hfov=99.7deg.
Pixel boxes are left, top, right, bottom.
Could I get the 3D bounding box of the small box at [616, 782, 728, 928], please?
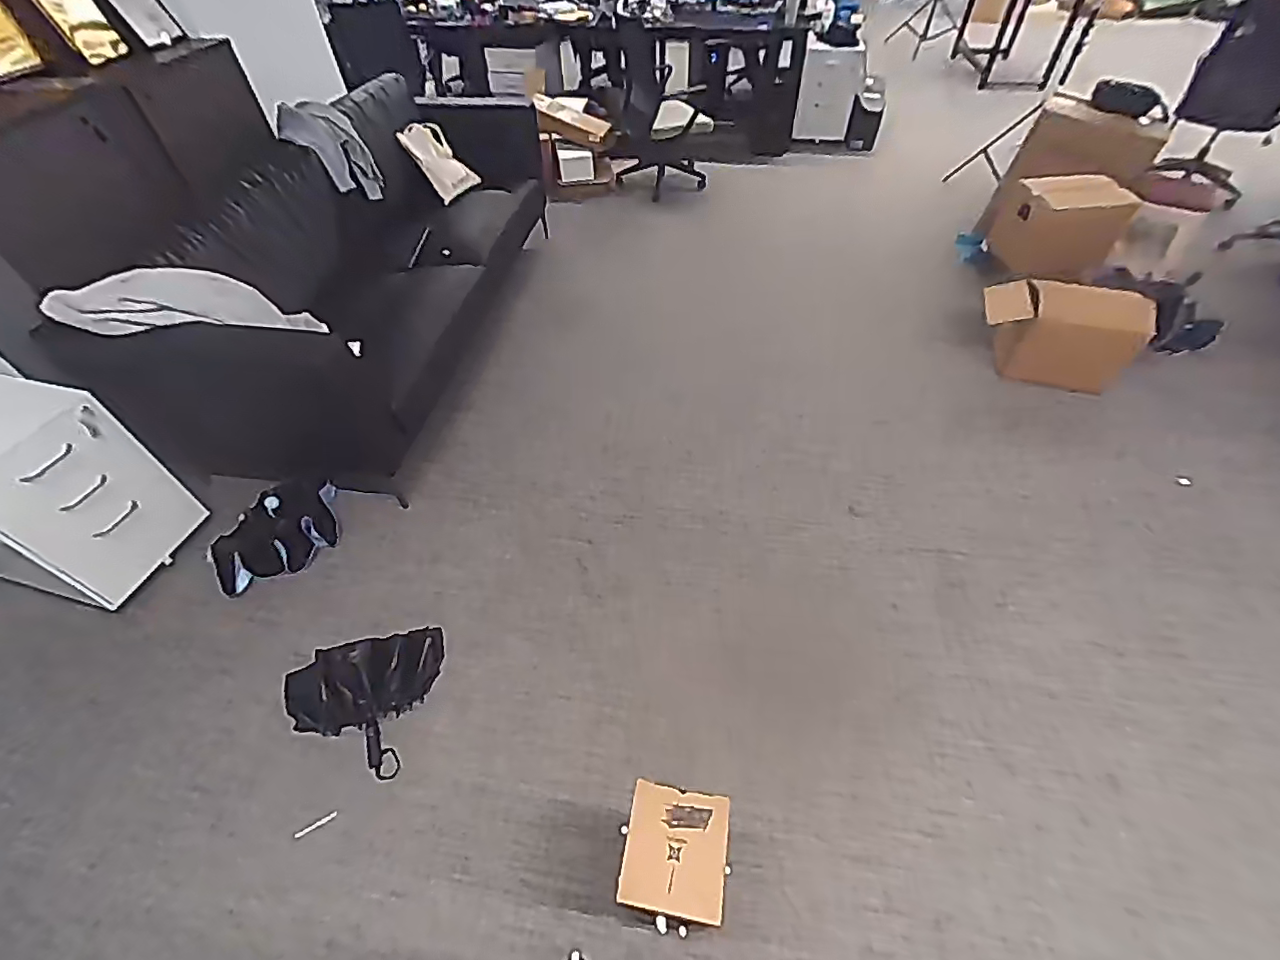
[{"bbox_3d":[0.055,0.660,0.951,0.168,0.176,0.179,8,51,7],"label":"small box"}]
